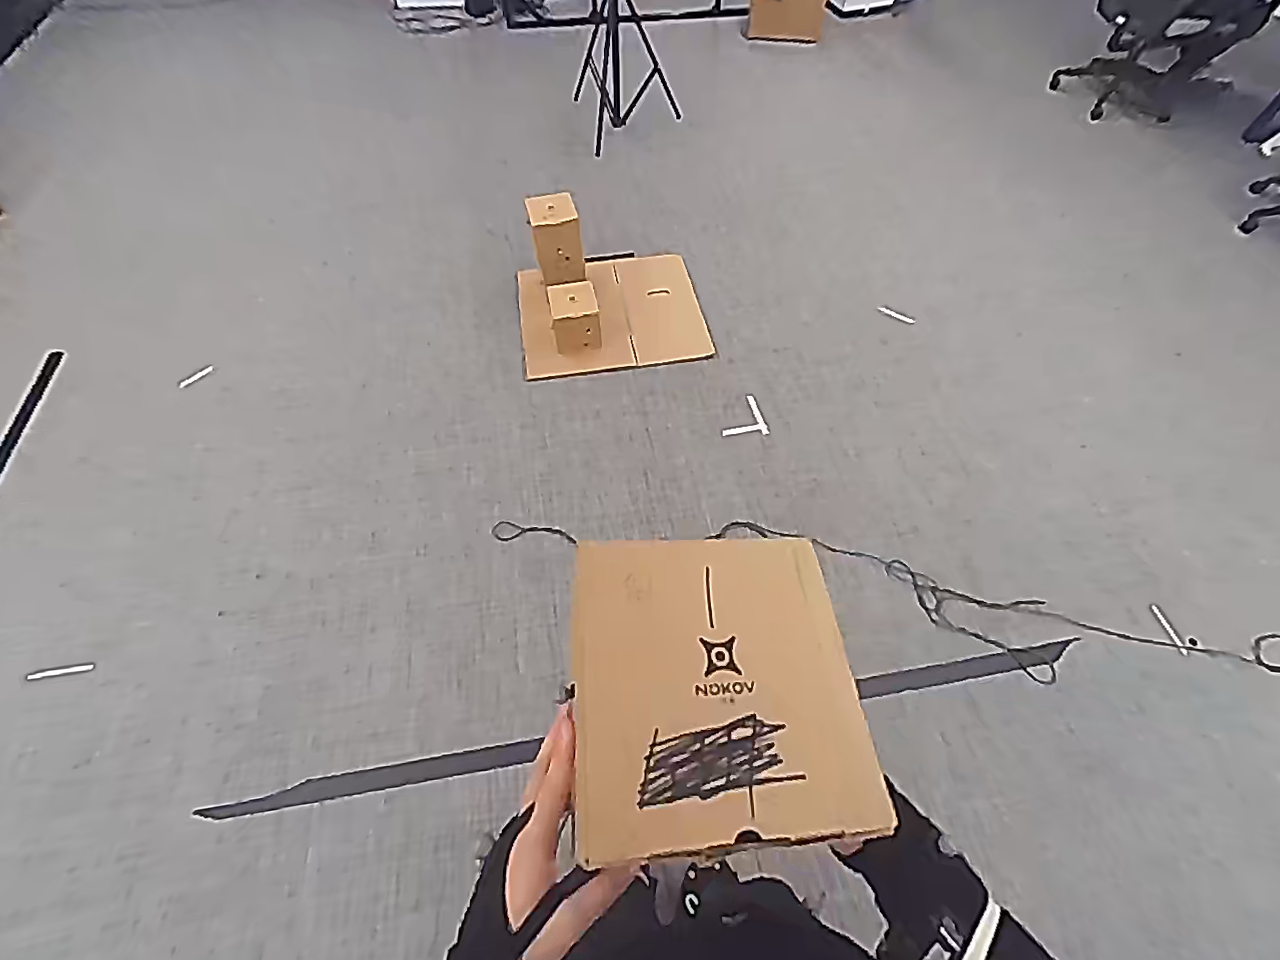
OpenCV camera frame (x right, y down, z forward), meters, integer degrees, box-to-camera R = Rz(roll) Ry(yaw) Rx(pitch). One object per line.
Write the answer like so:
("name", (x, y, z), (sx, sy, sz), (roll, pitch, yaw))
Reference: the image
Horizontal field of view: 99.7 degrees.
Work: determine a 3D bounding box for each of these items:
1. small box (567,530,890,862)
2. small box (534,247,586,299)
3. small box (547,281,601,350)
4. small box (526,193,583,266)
("small box", (0.035, 0.151, 0.381), (0.168, 0.176, 0.179), (0, 57, -10))
("small box", (-0.308, -0.823, 2.110), (0.168, 0.176, 0.179), (-15, 60, -10))
("small box", (-0.237, -0.590, 1.966), (0.168, 0.176, 0.179), (-11, 58, -8))
("small box", (-0.311, -0.911, 1.971), (0.168, 0.176, 0.179), (-14, 59, -8))
